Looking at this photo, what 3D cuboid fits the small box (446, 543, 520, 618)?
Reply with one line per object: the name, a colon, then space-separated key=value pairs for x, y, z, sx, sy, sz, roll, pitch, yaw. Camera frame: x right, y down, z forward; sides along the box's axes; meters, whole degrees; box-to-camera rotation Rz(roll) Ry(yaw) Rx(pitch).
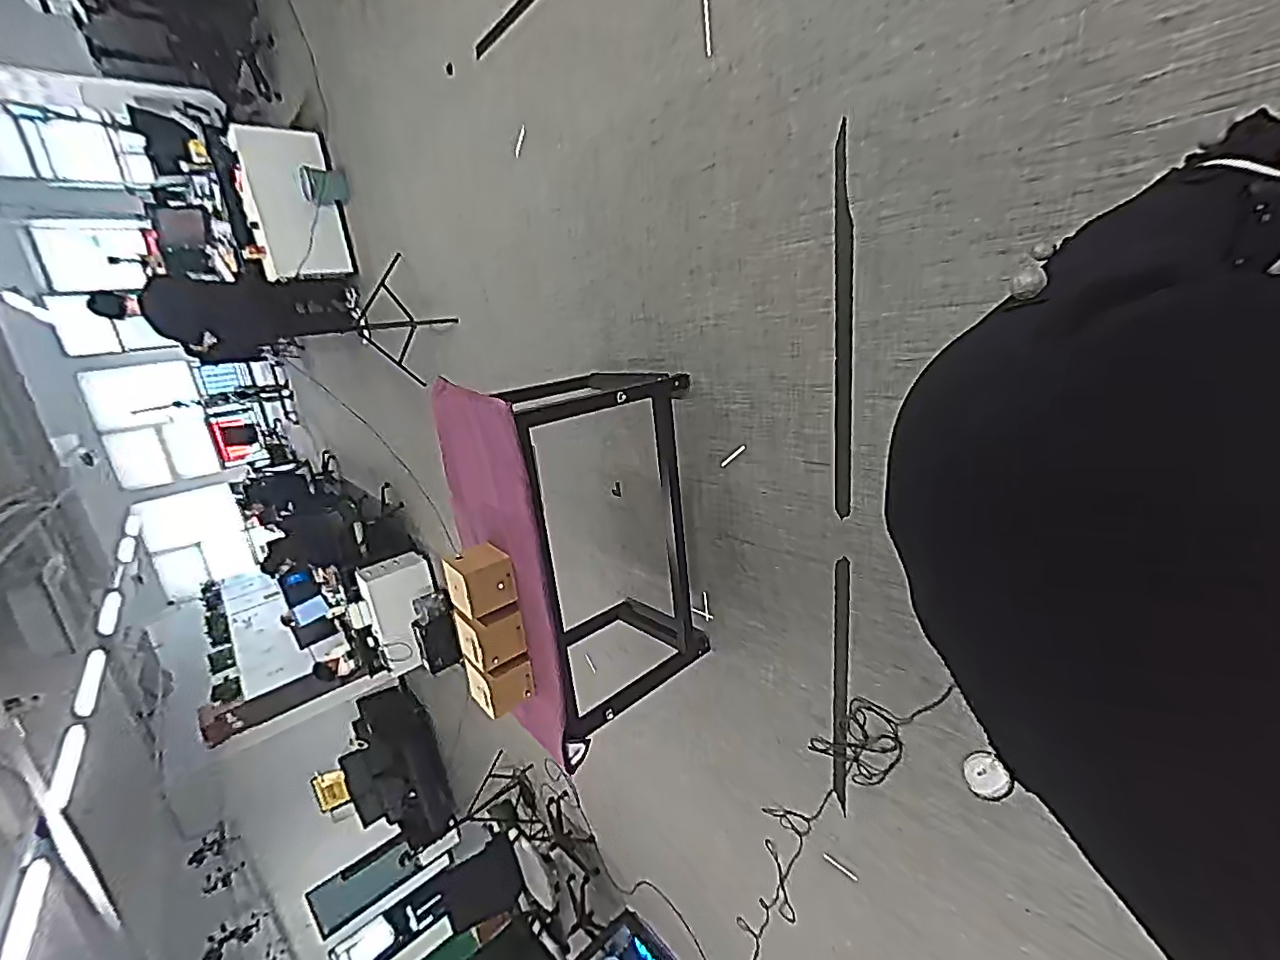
small box: x=-0.525 y=0.329 z=1.815 sx=0.179 sy=0.176 sz=0.168 roll=18 pitch=120 yaw=47
